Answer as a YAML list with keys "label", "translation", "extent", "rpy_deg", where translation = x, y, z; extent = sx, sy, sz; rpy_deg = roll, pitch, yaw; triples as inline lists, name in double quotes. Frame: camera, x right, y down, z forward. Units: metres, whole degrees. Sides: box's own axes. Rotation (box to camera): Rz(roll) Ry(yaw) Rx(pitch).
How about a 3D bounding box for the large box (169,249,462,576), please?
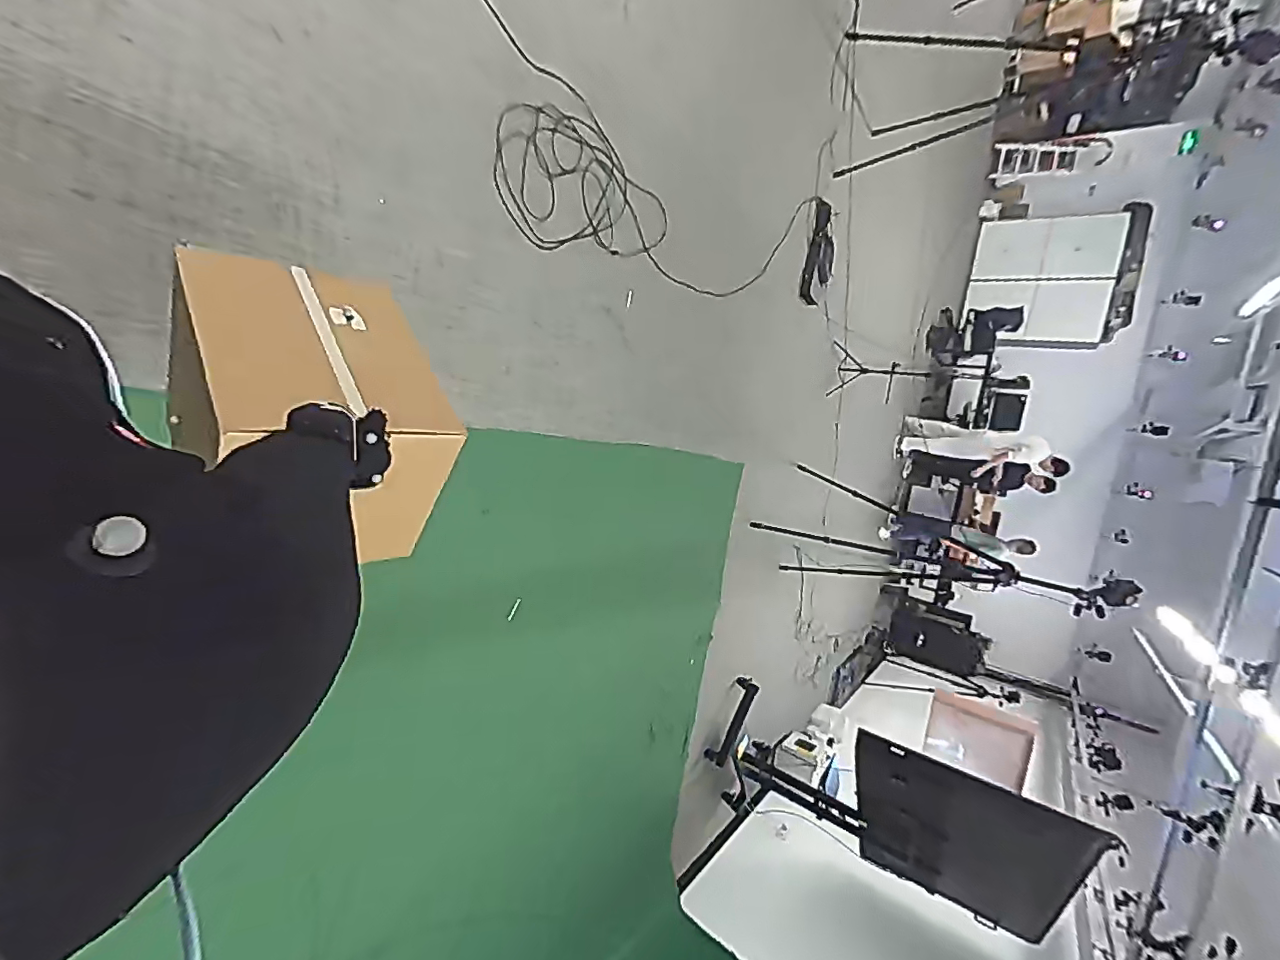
- label: "large box"
  translation: [-0.560, -0.108, 0.909]
  extent: [0.320, 0.408, 0.320]
  rpy_deg: [-3, 140, -47]
